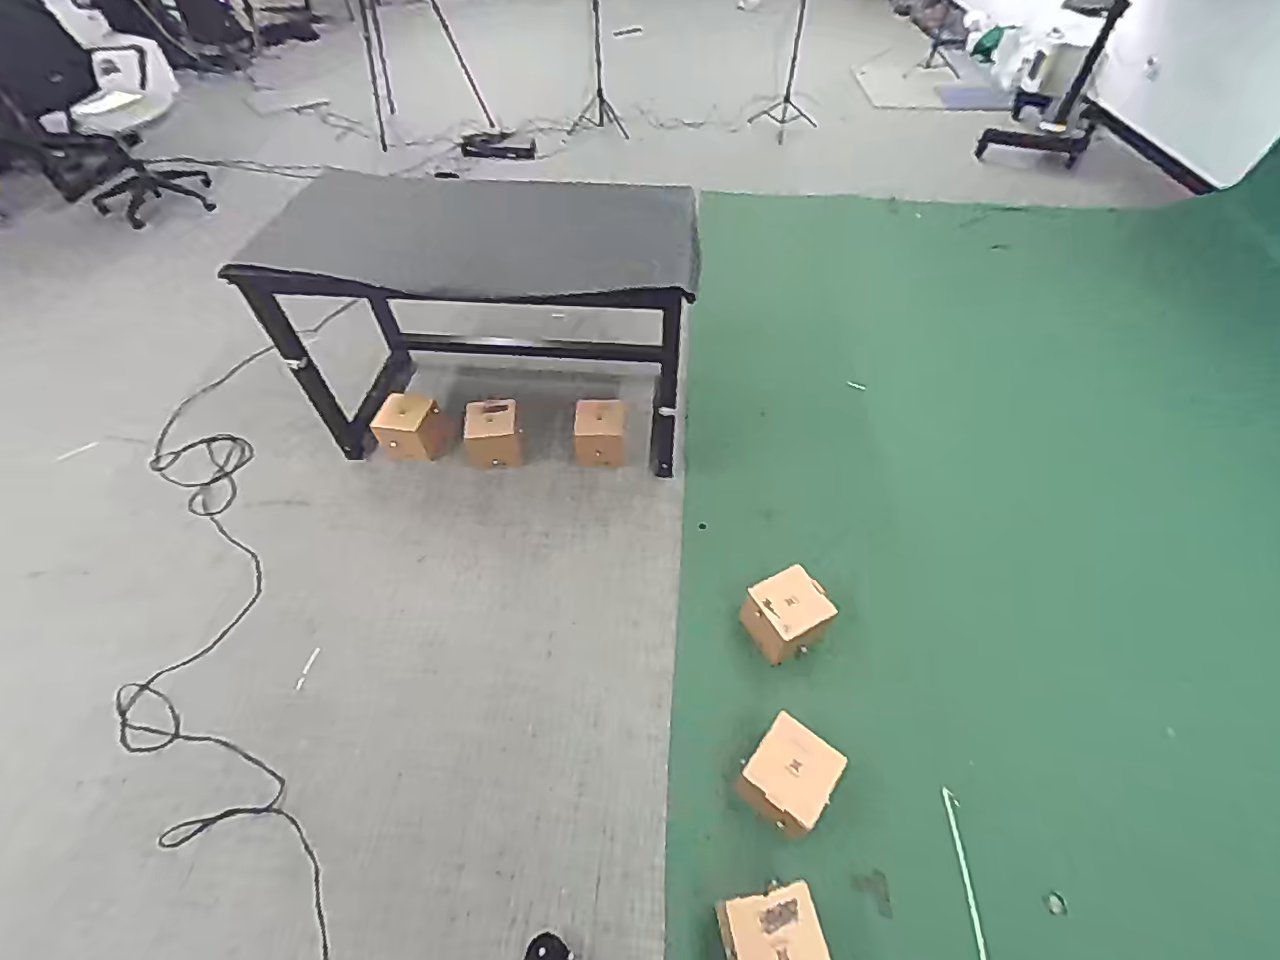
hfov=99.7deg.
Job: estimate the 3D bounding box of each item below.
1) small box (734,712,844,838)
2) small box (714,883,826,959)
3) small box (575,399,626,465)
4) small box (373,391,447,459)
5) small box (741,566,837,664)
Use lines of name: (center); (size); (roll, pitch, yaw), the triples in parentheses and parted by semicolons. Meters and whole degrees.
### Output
small box: (0.328, 0.672, 1.225); (0.168, 0.176, 0.179); (33, 57, 23)
small box: (0.248, 0.901, 1.036); (0.168, 0.176, 0.179); (-9, 52, -7)
small box: (-0.135, -0.168, 1.910); (0.168, 0.176, 0.179); (0, 51, -1)
small box: (-0.814, -0.194, 1.936); (0.168, 0.176, 0.179); (7, 51, 6)
small box: (0.397, 0.370, 1.473); (0.179, 0.176, 0.168); (-21, 54, -18)
